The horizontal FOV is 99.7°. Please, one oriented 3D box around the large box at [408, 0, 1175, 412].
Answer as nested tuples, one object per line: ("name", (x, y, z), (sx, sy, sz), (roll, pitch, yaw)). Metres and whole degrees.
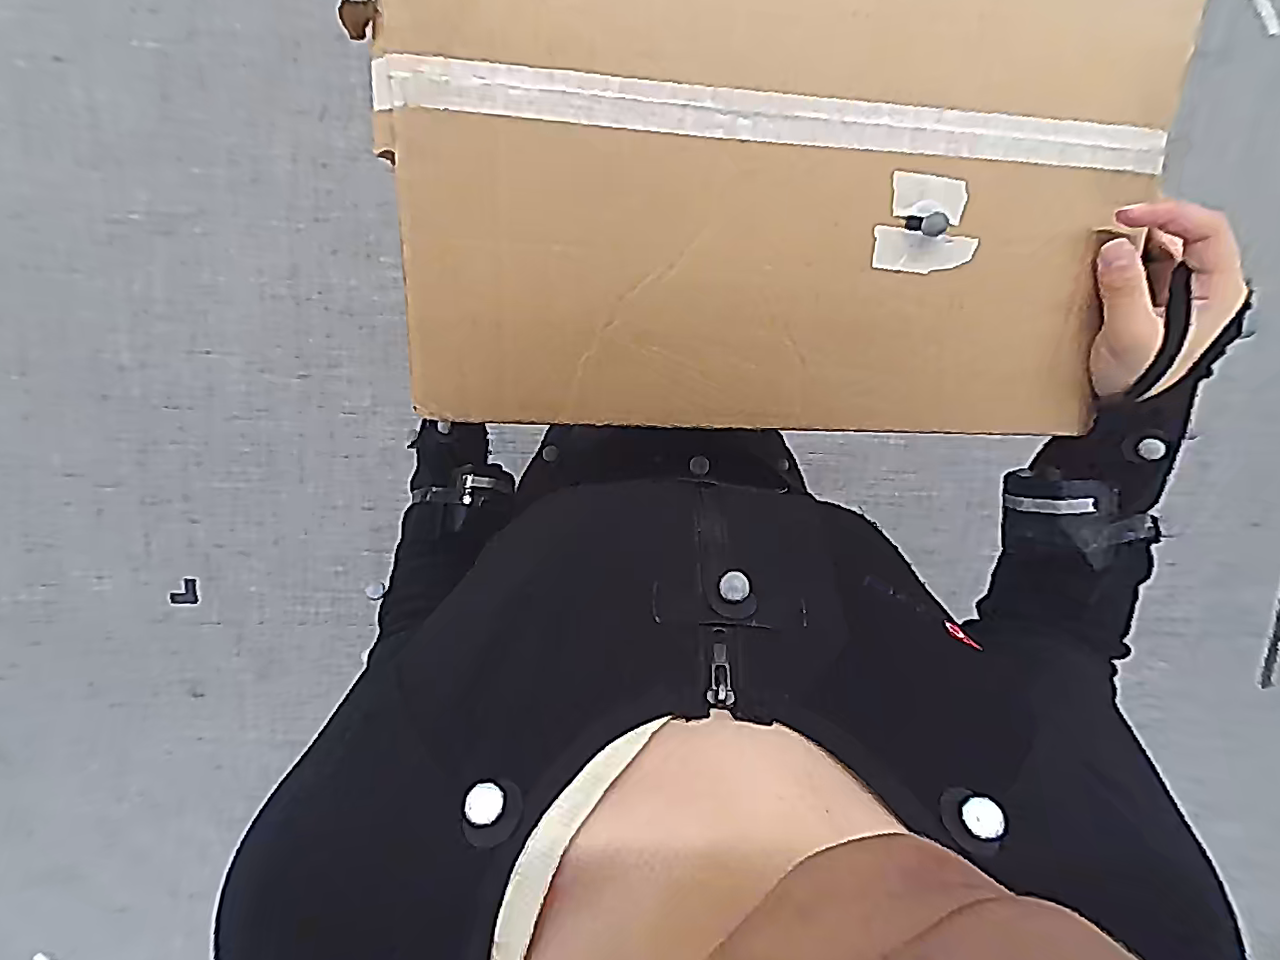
("large box", (0.066, -0.228, 0.424), (0.408, 0.320, 0.320), (0, 106, -9))
